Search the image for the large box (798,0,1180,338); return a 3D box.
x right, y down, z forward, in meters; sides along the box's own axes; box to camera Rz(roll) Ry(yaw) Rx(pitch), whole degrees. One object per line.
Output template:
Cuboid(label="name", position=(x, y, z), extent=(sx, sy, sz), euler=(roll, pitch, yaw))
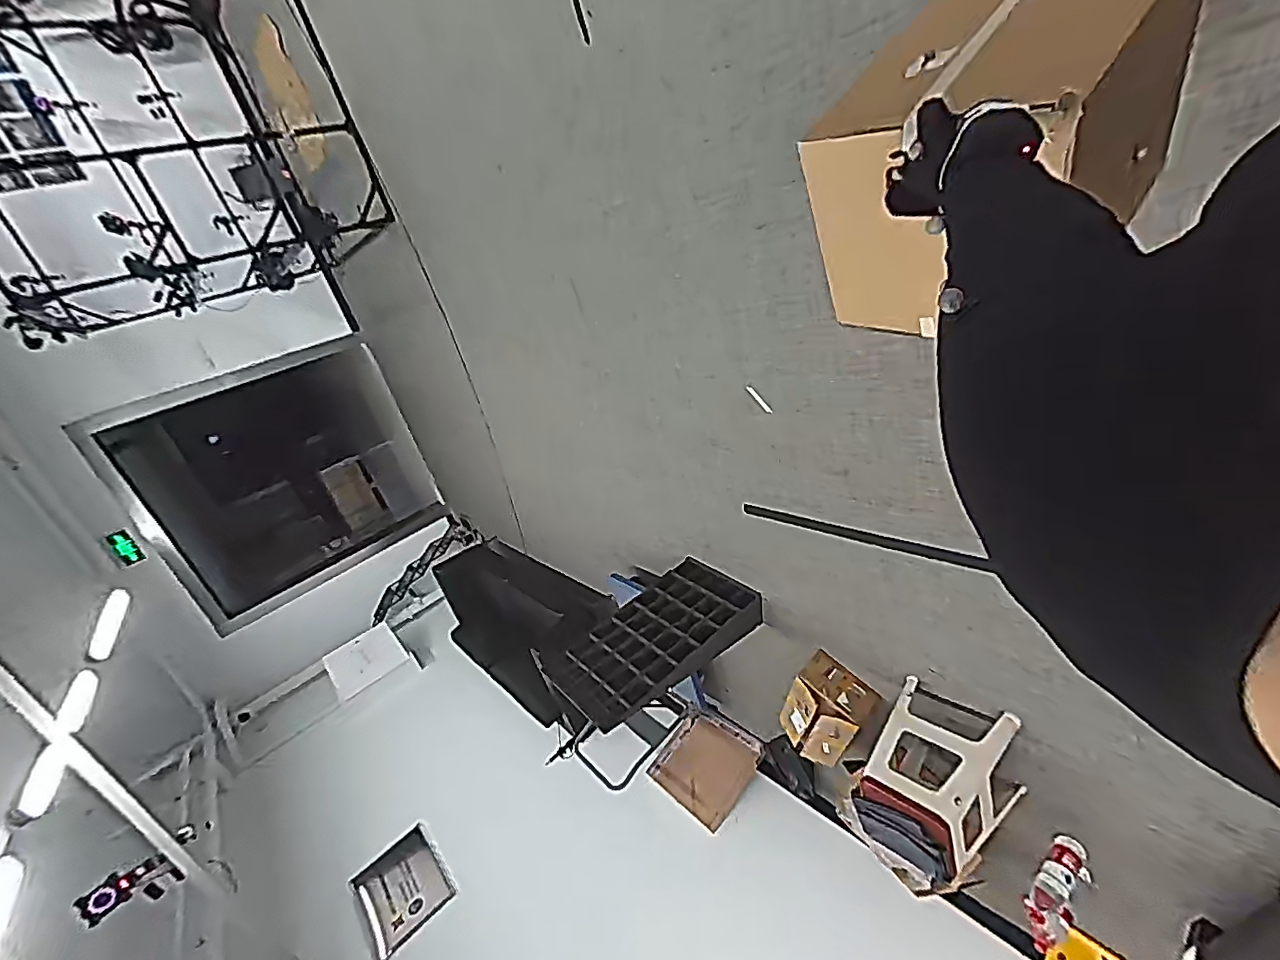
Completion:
Cuboid(label="large box", position=(0.495, -0.474, 0.778), extent=(0.320, 0.408, 0.320), euler=(26, 163, 43))
